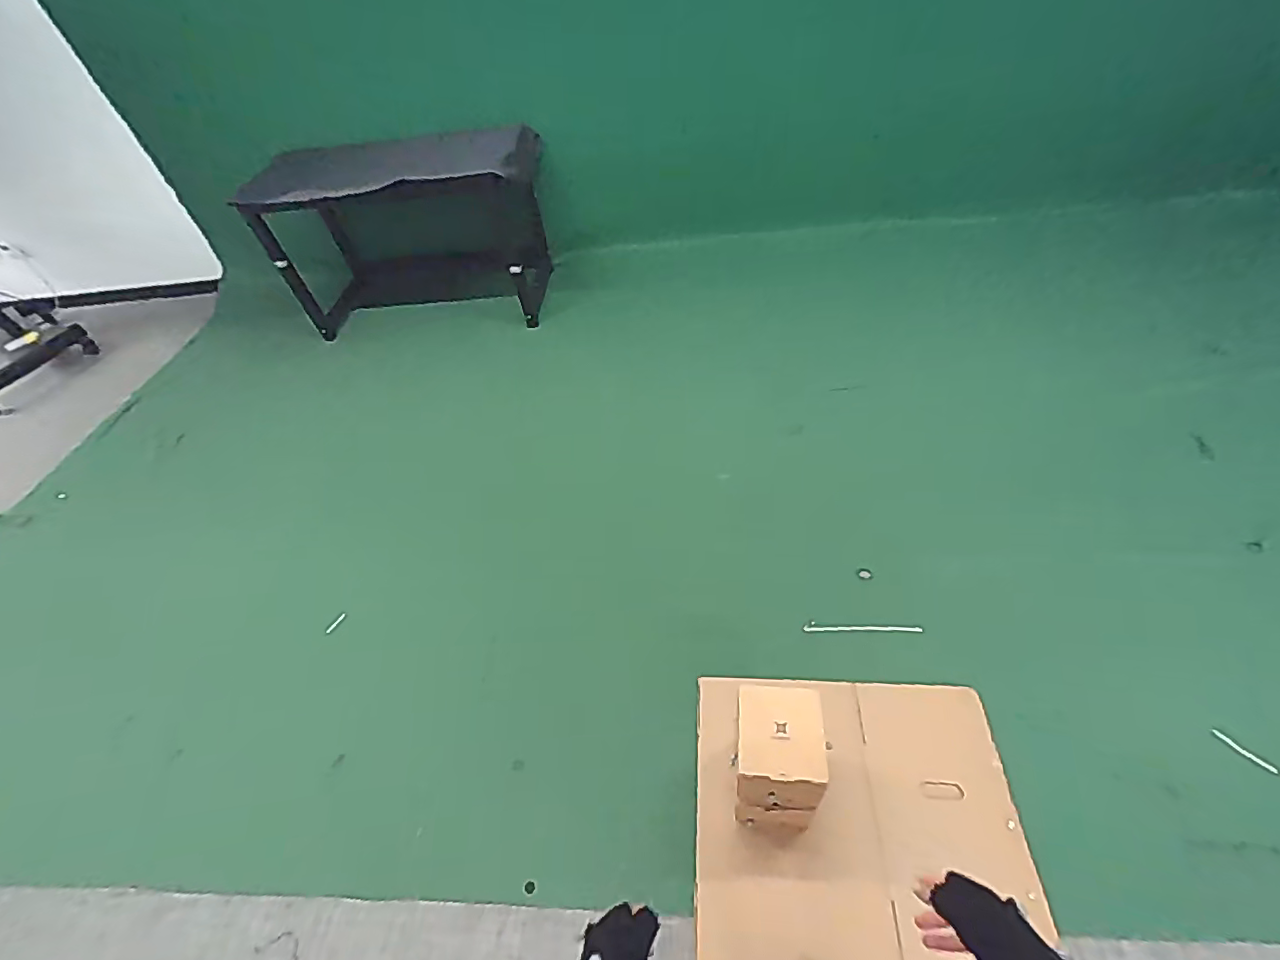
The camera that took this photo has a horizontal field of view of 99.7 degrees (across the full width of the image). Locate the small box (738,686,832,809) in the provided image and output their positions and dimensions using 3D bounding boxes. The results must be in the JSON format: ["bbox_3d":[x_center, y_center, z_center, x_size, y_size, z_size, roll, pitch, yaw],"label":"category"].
[{"bbox_3d":[0.287,0.545,1.103,0.168,0.176,0.179,1,48,10],"label":"small box"}]

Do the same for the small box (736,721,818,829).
[{"bbox_3d":[0.301,0.664,1.214,0.168,0.176,0.179,-1,47,10],"label":"small box"}]
